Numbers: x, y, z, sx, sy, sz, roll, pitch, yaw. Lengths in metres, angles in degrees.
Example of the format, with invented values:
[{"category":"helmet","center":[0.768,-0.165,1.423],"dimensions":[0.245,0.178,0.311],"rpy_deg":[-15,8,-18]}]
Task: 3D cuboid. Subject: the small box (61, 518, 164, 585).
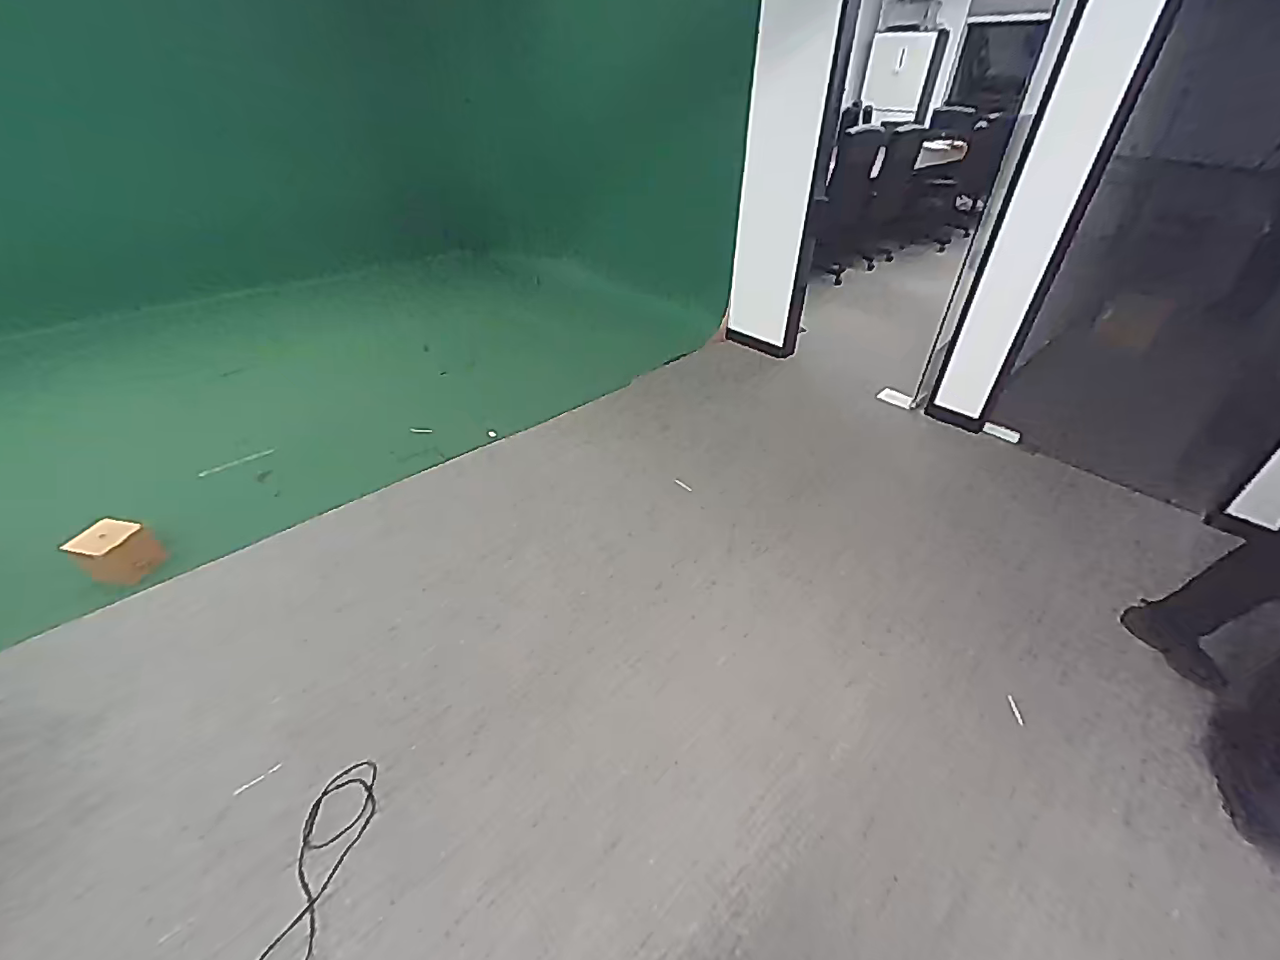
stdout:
[{"category":"small box","center":[-1.917,0.263,1.974],"dimensions":[0.179,0.176,0.168],"rpy_deg":[8,38,8]}]
